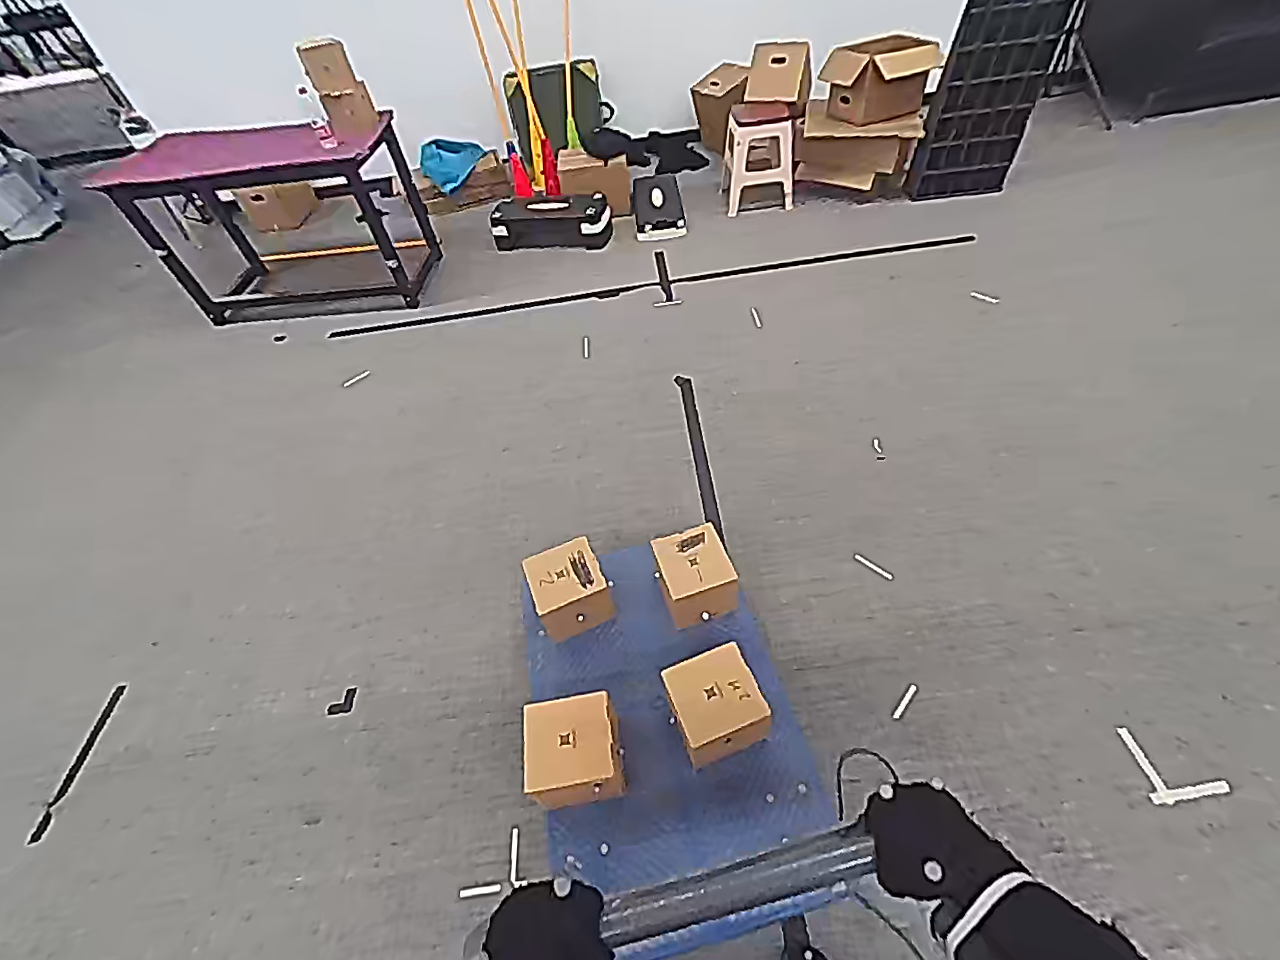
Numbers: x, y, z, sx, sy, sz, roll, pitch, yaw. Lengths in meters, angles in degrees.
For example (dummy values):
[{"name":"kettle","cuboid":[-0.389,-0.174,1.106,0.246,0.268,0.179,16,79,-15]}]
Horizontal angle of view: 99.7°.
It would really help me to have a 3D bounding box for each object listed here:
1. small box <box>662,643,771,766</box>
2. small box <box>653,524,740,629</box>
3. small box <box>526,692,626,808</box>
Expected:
[{"name":"small box","cuboid":[0.163,0.485,1.158,0.179,0.176,0.168,-20,50,-8]},{"name":"small box","cuboid":[0.139,0.244,1.364,0.168,0.176,0.179,-17,51,-6]},{"name":"small box","cuboid":[-0.133,0.568,1.132,0.179,0.176,0.168,-10,49,-2]}]
